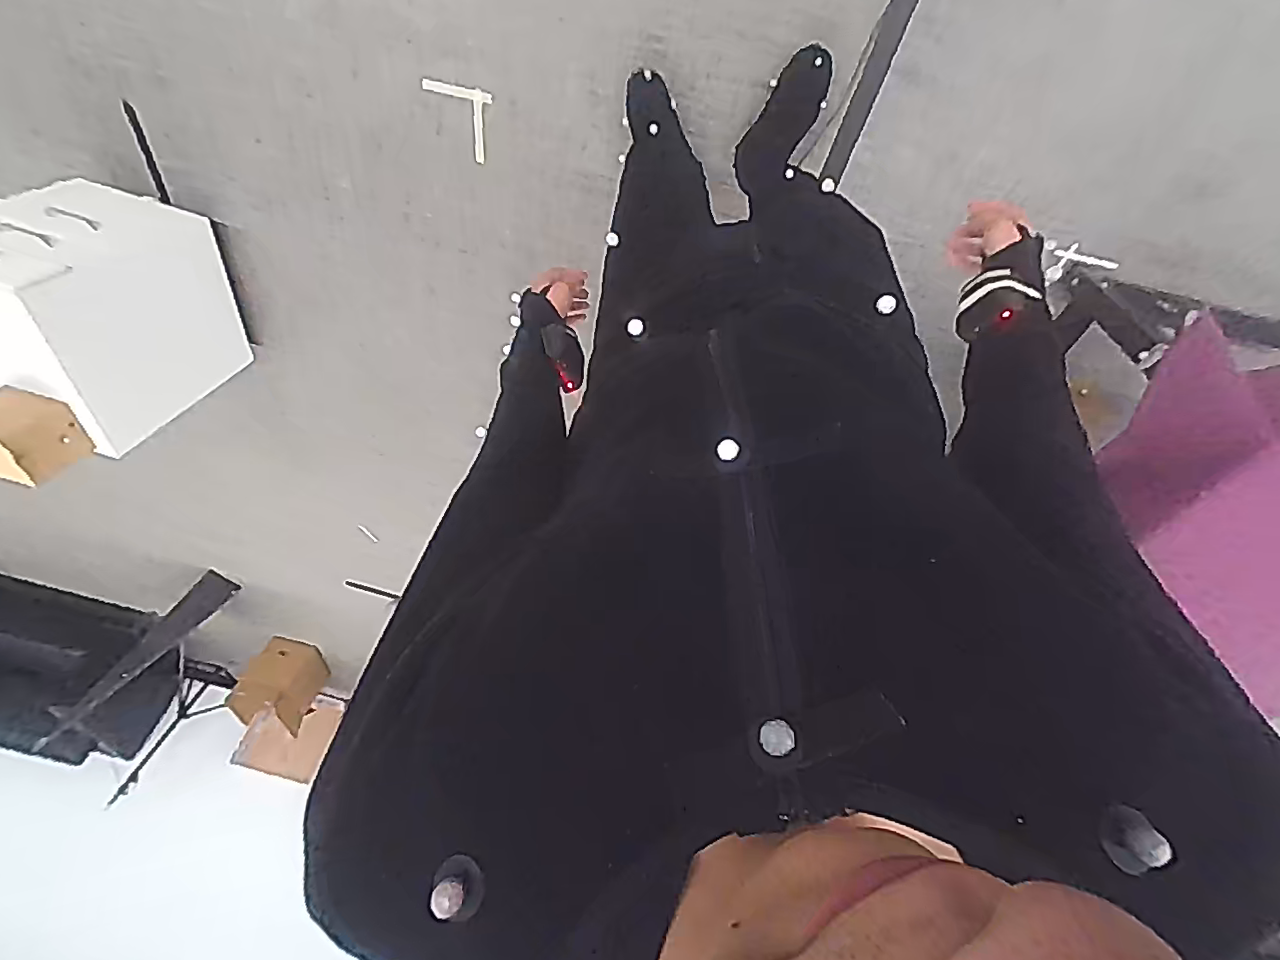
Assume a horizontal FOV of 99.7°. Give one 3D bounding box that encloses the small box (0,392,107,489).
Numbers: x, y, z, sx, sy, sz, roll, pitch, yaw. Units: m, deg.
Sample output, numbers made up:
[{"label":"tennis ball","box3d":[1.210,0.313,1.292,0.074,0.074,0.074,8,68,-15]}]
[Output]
[{"label":"small box","box3d":[-1.601,-0.110,1.435,0.179,0.176,0.168,16,134,1]}]
